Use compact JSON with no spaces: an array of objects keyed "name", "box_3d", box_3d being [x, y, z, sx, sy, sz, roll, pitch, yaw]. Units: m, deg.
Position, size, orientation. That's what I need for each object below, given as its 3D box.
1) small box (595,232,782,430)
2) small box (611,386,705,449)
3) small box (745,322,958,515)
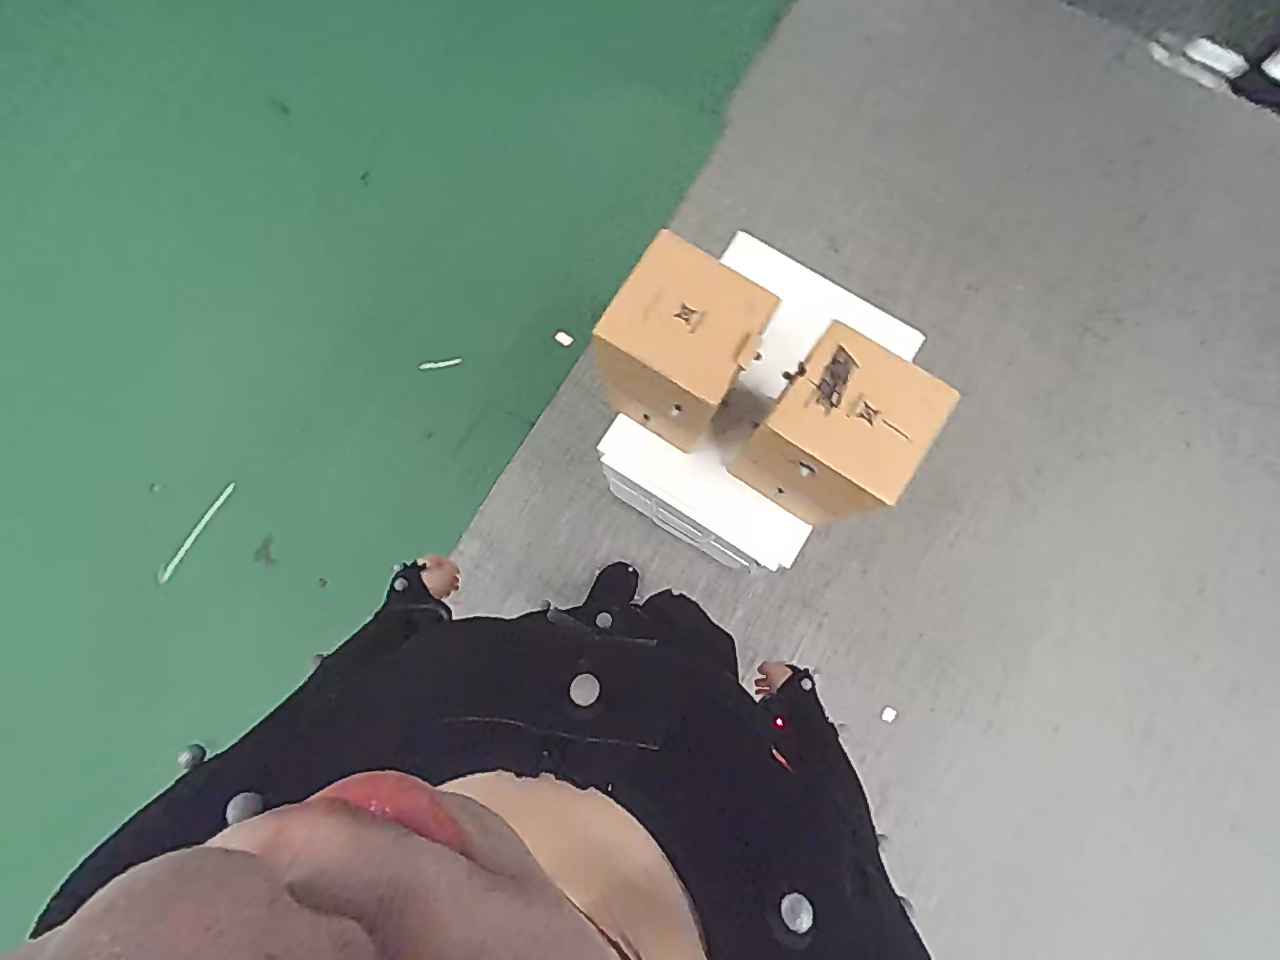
[{"name":"small box","box_3d":[0.058,-0.185,0.732,0.179,0.176,0.168,32,81,4]},{"name":"small box","box_3d":[0.063,-0.173,0.895,0.168,0.176,0.179,33,82,2]},{"name":"small box","box_3d":[0.261,-0.067,0.715,0.179,0.176,0.168,35,82,5]}]
